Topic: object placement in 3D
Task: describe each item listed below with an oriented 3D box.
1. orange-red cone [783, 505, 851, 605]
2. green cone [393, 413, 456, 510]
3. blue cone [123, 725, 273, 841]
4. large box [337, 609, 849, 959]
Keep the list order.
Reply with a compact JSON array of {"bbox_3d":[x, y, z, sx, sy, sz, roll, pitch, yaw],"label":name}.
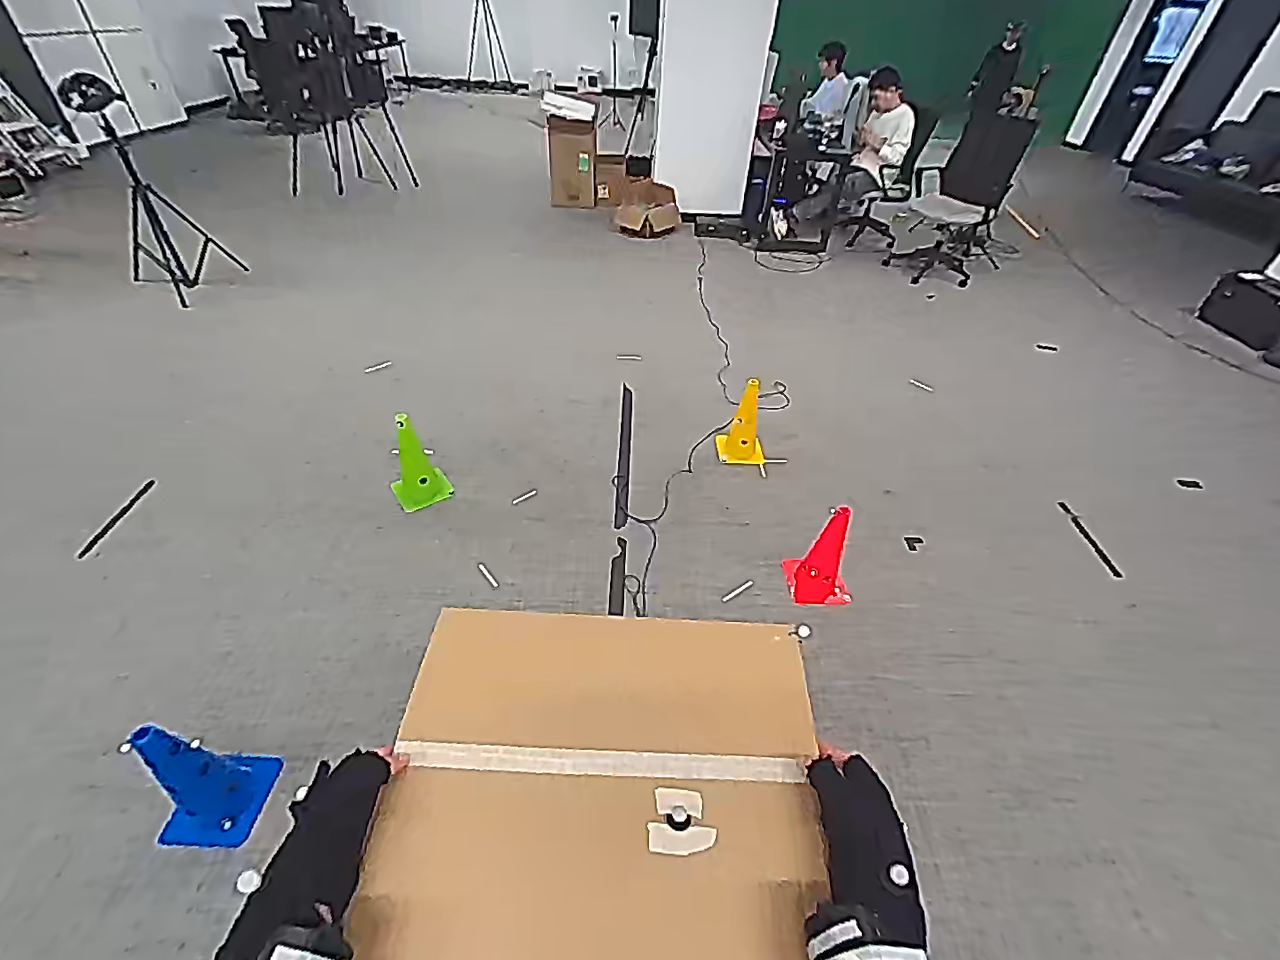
[{"bbox_3d":[0.624,0.223,1.785,0.198,0.360,0.199,1,40,-4],"label":"orange-red cone"},{"bbox_3d":[-0.857,-0.099,2.045,0.202,0.368,0.200,-26,49,-27],"label":"green cone"},{"bbox_3d":[-1.017,0.649,1.212,0.192,0.380,0.193,3,41,2],"label":"blue cone"},{"bbox_3d":[-0.039,0.370,0.620,0.408,0.320,0.320,3,45,0],"label":"large box"}]
